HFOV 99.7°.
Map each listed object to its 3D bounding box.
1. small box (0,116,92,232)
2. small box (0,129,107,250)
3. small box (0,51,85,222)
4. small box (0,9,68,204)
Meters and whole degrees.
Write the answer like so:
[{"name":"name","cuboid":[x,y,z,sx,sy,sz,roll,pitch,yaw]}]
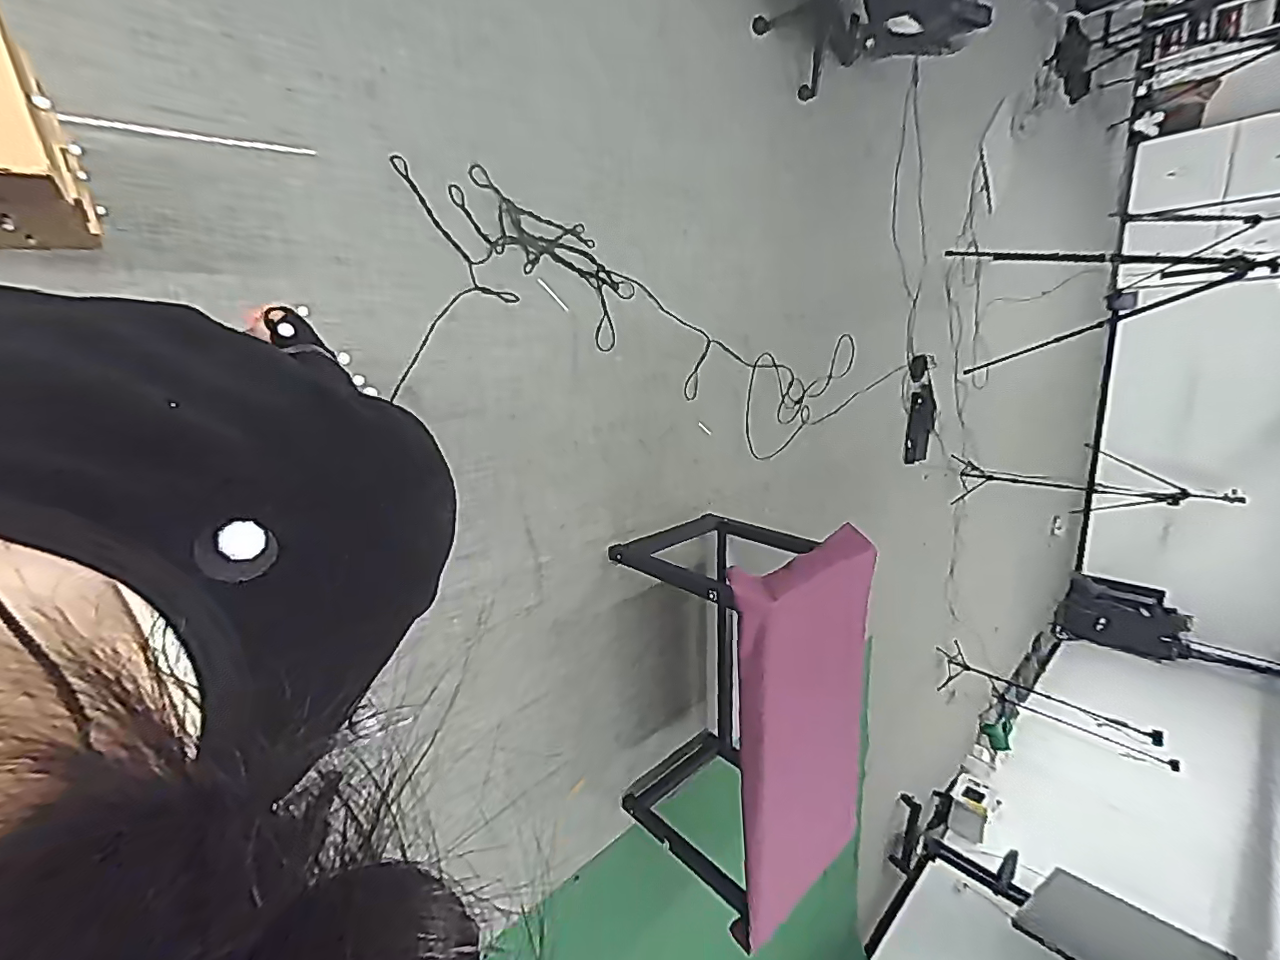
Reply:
[{"name":"small box","cuboid":[-0.958,-0.470,0.796,0.179,0.176,0.168,-16,110,-39]},{"name":"small box","cuboid":[-1.058,-0.496,0.924,0.179,0.176,0.168,-17,110,-39]},{"name":"small box","cuboid":[-0.846,-0.432,0.682,0.179,0.176,0.168,-19,111,-38]},{"name":"small box","cuboid":[-0.743,-0.403,0.559,0.168,0.176,0.179,-19,112,-37]}]
